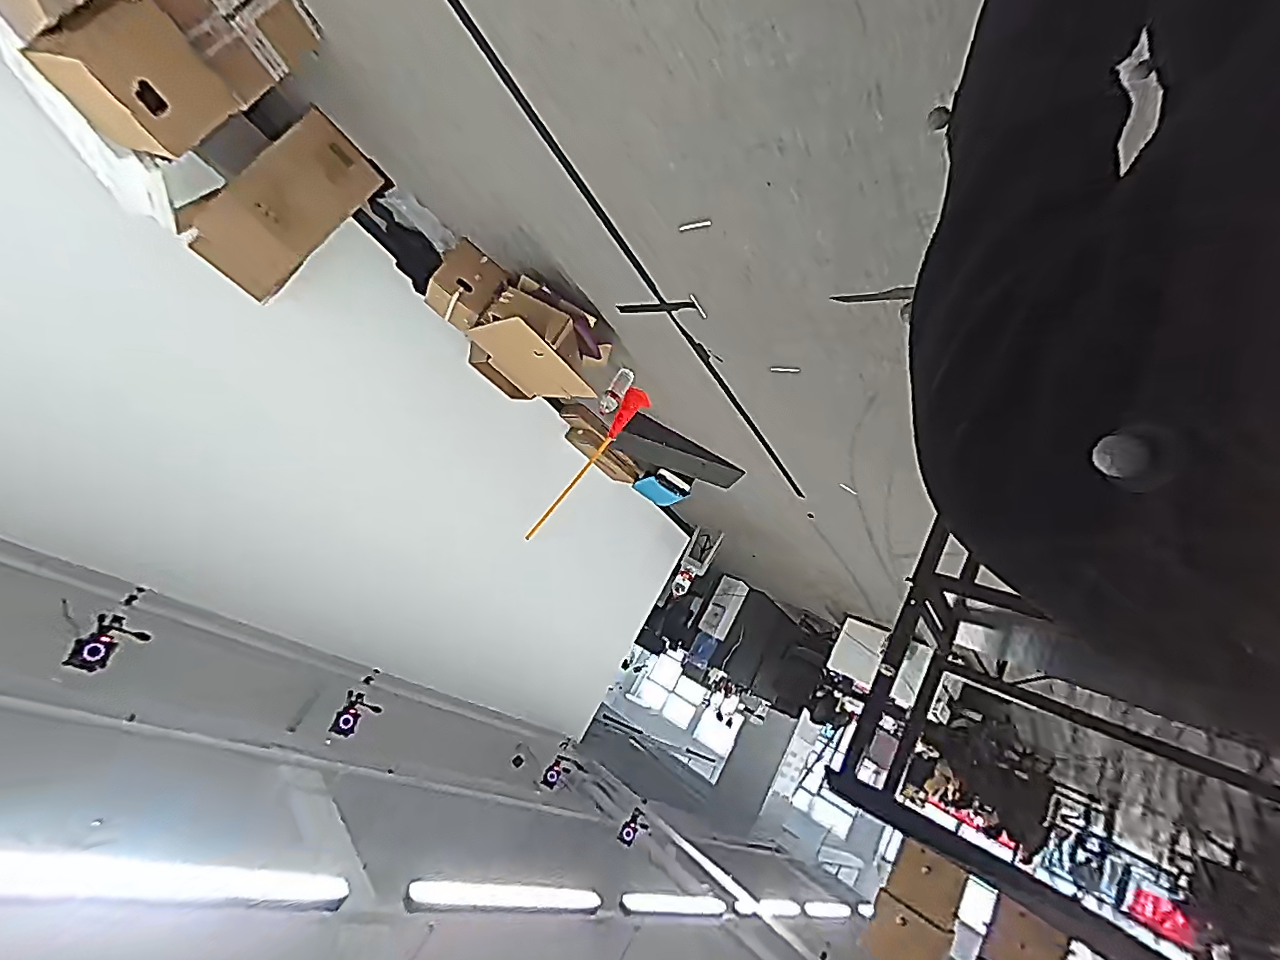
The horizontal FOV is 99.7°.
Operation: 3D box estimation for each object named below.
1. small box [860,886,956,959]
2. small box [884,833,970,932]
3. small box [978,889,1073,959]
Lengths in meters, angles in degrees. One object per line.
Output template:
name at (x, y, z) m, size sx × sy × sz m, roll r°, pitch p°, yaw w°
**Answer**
small box at (0.751, 1.296, 1.522) m, size 0.179 × 0.176 × 0.168 m, roll 14°, pitch 159°, yaw 49°
small box at (0.838, 1.162, 1.572) m, size 0.168 × 0.176 × 0.179 m, roll 14°, pitch 158°, yaw 44°
small box at (1.004, 1.206, 1.407) m, size 0.168 × 0.176 × 0.179 m, roll 17°, pitch 160°, yaw 43°
